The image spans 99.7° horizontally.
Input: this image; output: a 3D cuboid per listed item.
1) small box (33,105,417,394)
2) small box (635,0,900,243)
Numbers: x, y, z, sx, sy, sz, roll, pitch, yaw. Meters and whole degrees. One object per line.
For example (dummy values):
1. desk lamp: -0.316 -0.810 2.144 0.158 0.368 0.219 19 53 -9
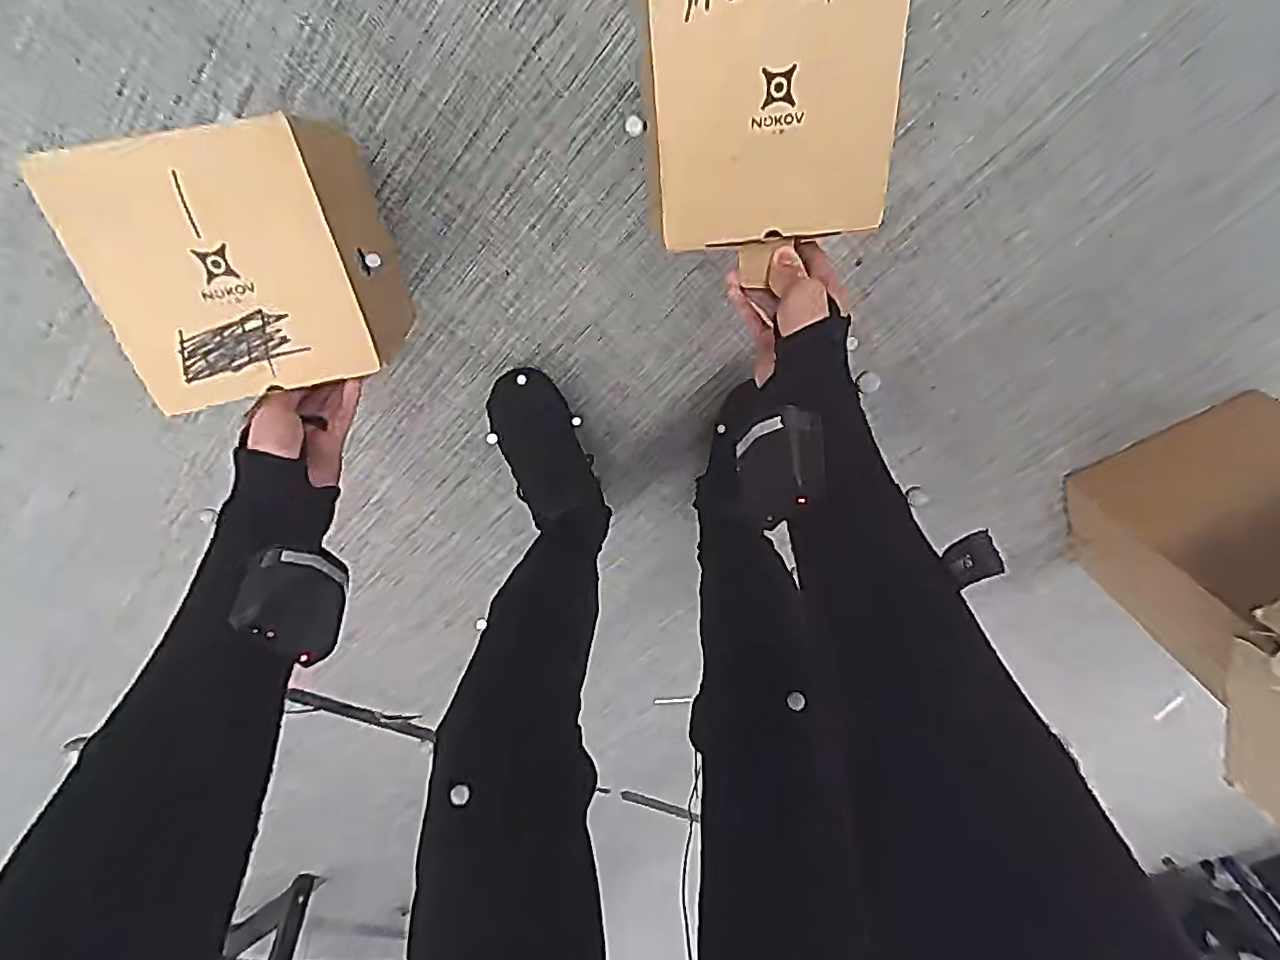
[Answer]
1. small box: -0.308 -0.197 0.459 0.168 0.176 0.179 -13 122 -5
2. small box: 0.084 -0.304 0.436 0.168 0.176 0.179 -5 122 0
